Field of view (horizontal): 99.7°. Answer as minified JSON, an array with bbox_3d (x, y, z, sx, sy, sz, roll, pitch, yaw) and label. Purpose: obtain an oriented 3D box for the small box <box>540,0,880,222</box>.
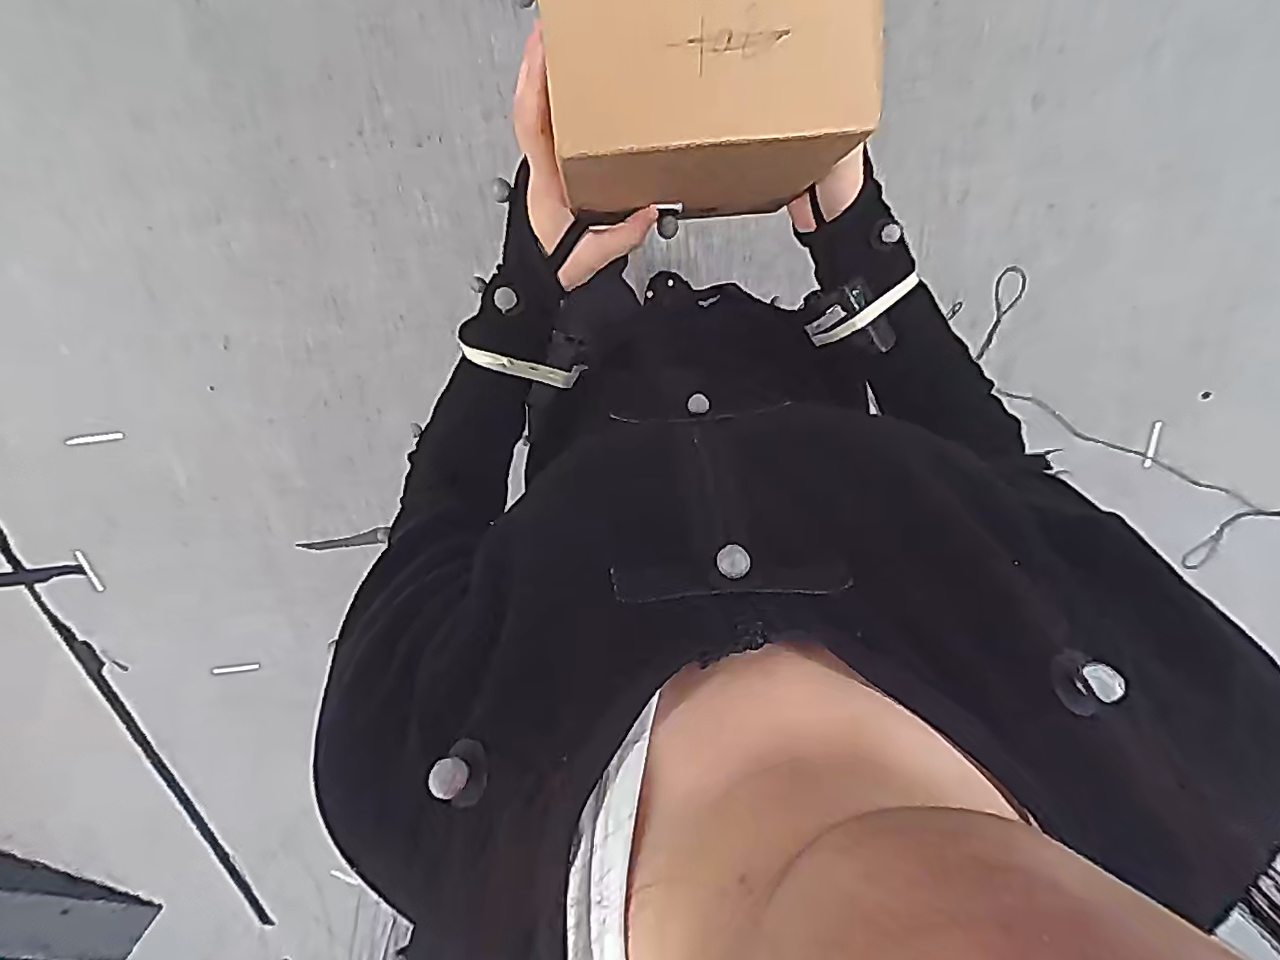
[{"bbox_3d":[0.025,-0.273,0.327,0.168,0.176,0.179,-6,104,-3],"label":"small box"}]
